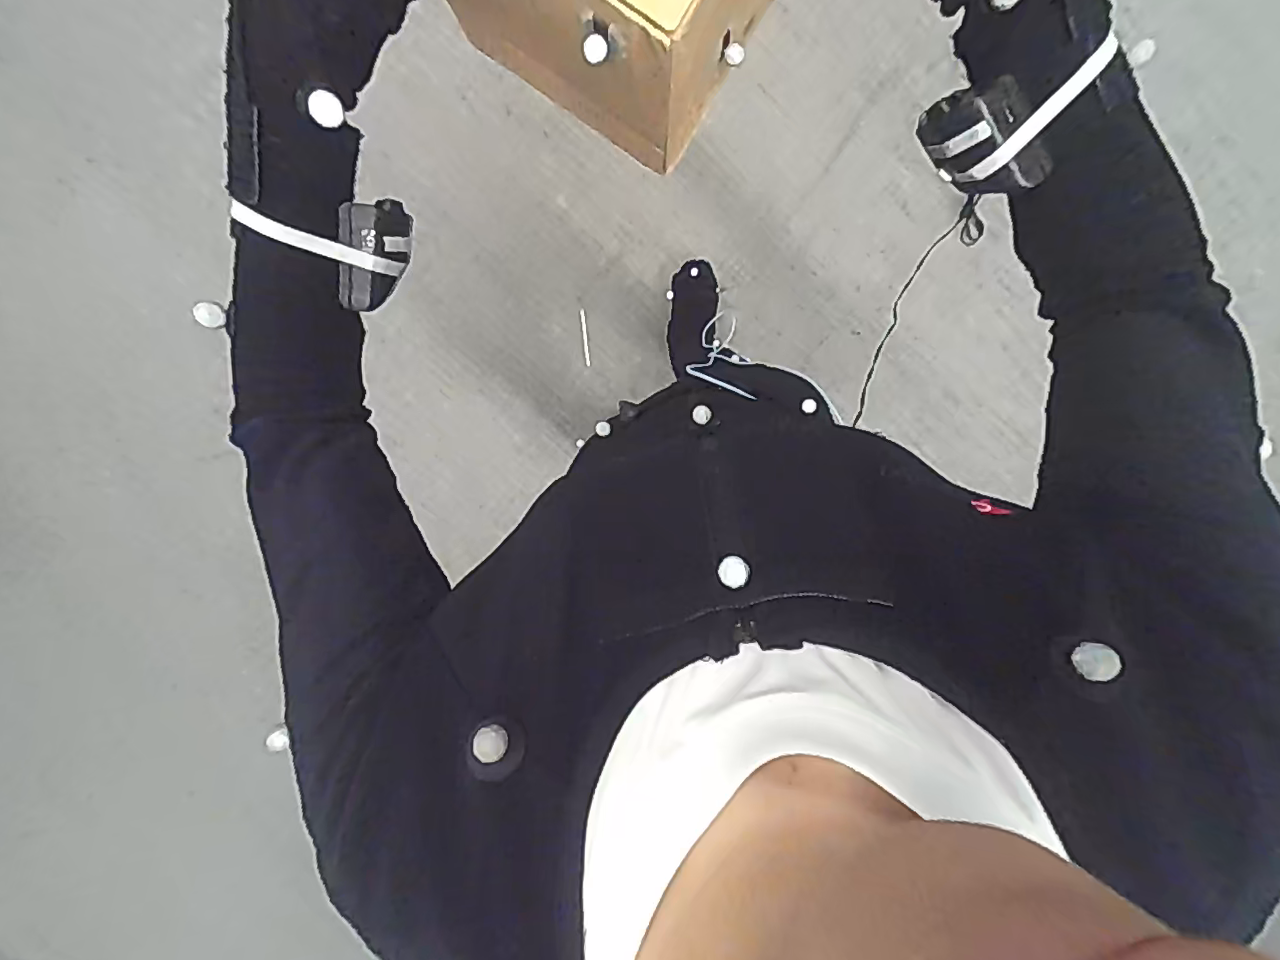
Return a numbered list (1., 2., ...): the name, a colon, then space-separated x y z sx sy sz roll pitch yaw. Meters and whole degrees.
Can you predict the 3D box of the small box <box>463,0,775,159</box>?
1. small box: -0.010 -0.334 0.317 0.179 0.176 0.168 33 99 -5
